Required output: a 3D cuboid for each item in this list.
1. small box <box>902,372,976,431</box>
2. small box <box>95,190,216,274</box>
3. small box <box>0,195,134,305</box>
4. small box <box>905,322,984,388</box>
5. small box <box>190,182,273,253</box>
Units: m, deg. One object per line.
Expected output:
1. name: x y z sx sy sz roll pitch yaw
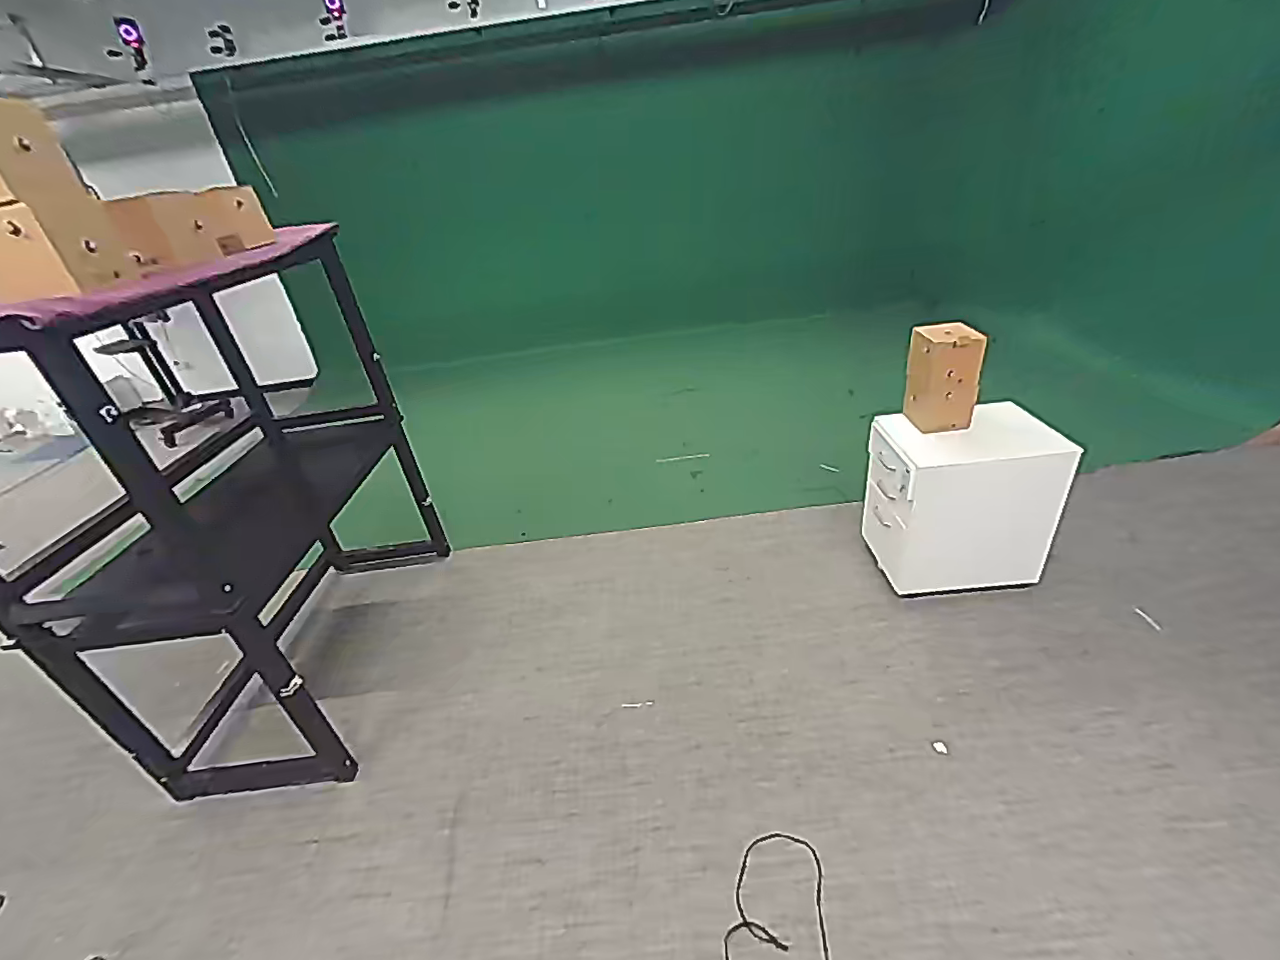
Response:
1. small box: 1.059 -0.290 1.934 0.168 0.176 0.179 -6 32 3
2. small box: -1.228 -0.626 1.368 0.168 0.176 0.179 -9 32 1
3. small box: -1.182 -0.458 1.073 0.179 0.176 0.168 -8 30 0
4. small box: 1.033 -0.429 1.853 0.168 0.176 0.179 -6 33 3
5. small box: -1.269 -0.791 1.643 0.168 0.176 0.179 -9 31 4
